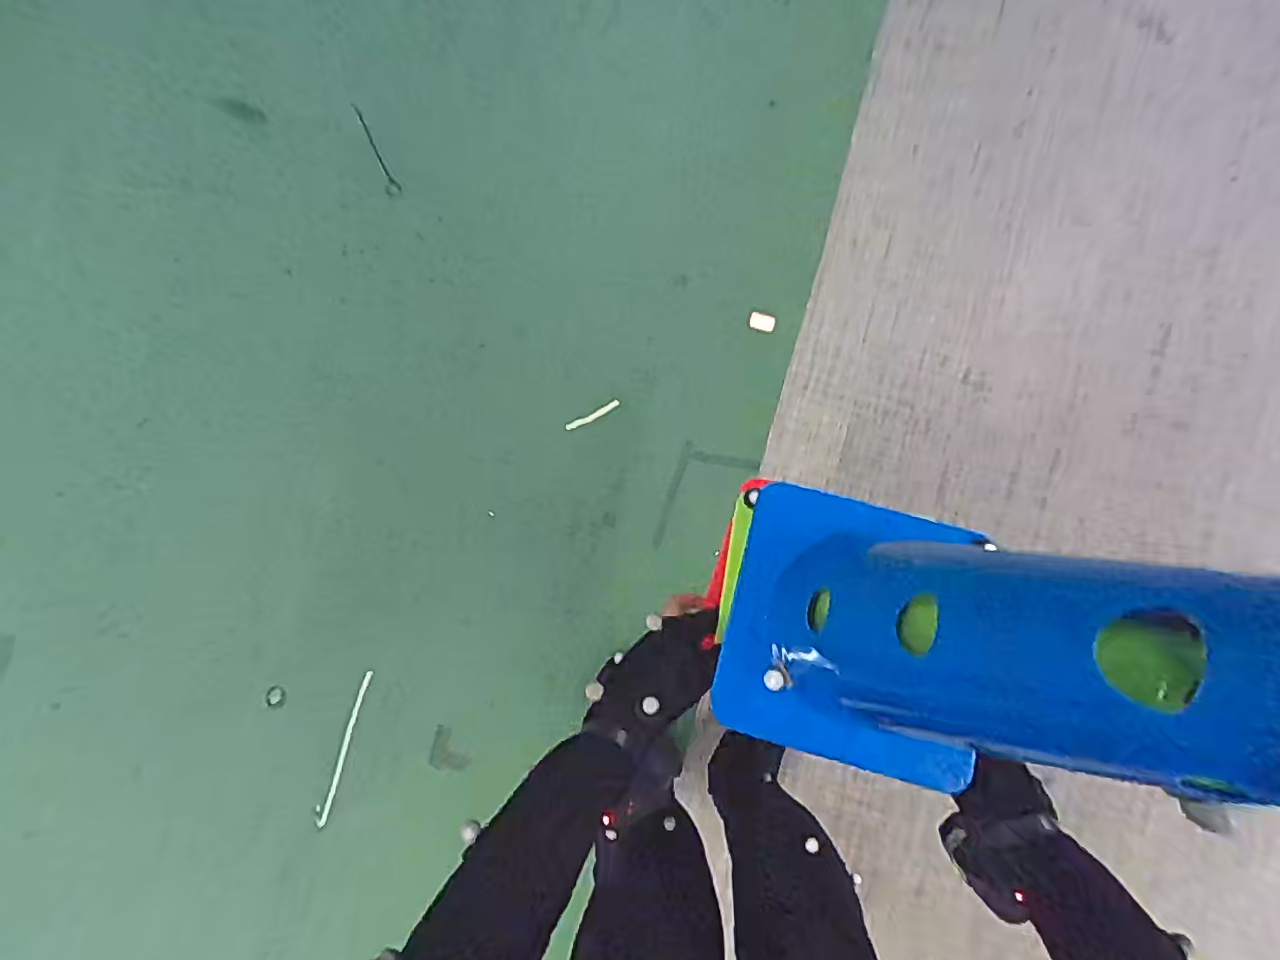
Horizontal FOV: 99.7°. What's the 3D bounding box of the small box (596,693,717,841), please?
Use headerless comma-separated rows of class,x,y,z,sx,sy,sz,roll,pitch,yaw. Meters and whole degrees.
small box,0.021,0.503,0.963,0.168,0.176,0.179,10,87,-13
